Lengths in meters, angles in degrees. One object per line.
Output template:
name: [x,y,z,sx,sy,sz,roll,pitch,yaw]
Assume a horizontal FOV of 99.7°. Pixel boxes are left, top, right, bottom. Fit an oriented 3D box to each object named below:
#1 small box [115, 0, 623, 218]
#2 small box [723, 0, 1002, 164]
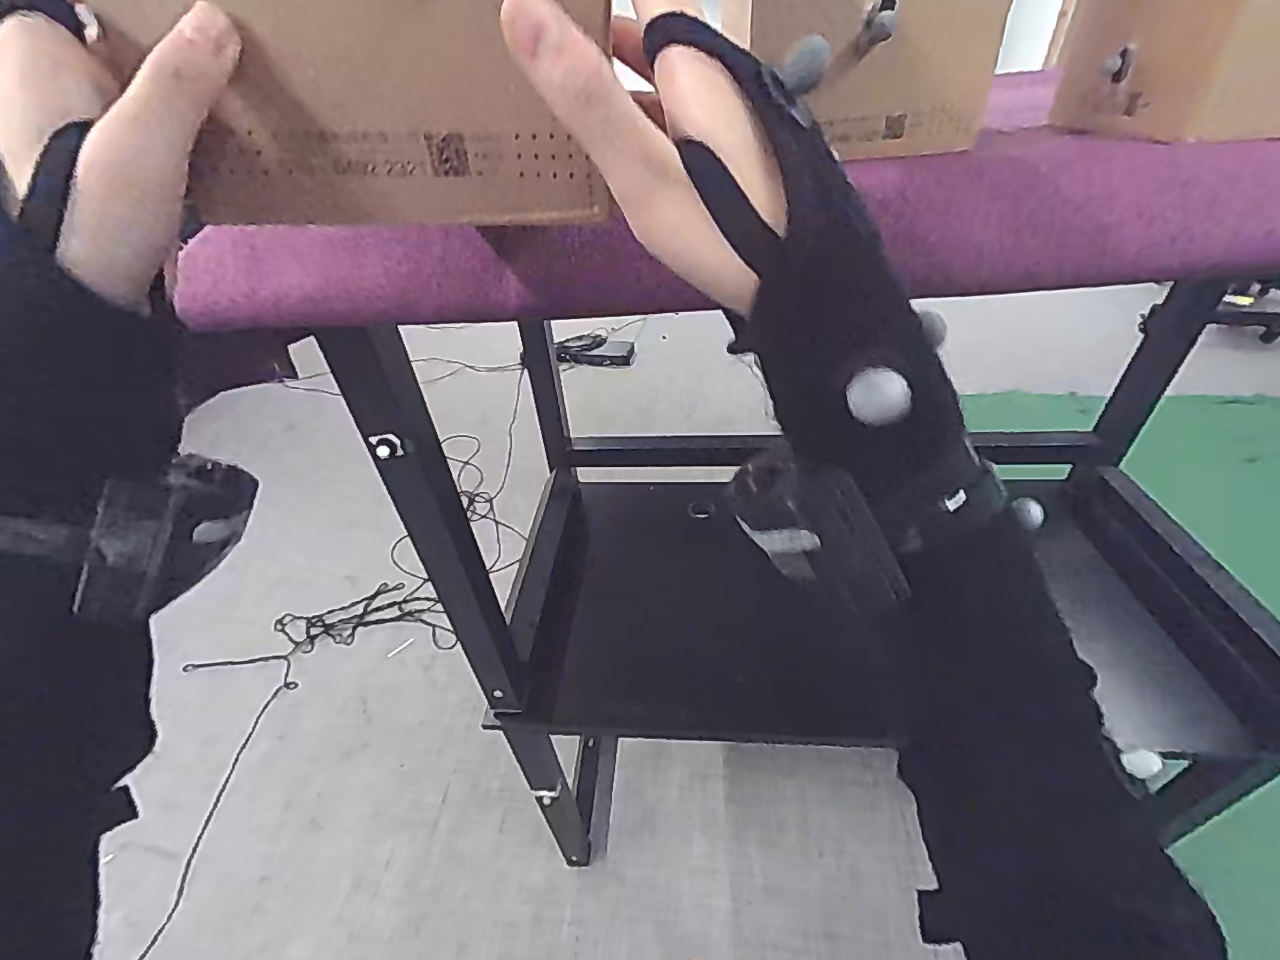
small box: [-0.092,-0.221,0.222,0.168,0.176,0.179,1,44,-1]
small box: [0.154,-0.347,0.410,0.168,0.176,0.179,-2,38,3]
